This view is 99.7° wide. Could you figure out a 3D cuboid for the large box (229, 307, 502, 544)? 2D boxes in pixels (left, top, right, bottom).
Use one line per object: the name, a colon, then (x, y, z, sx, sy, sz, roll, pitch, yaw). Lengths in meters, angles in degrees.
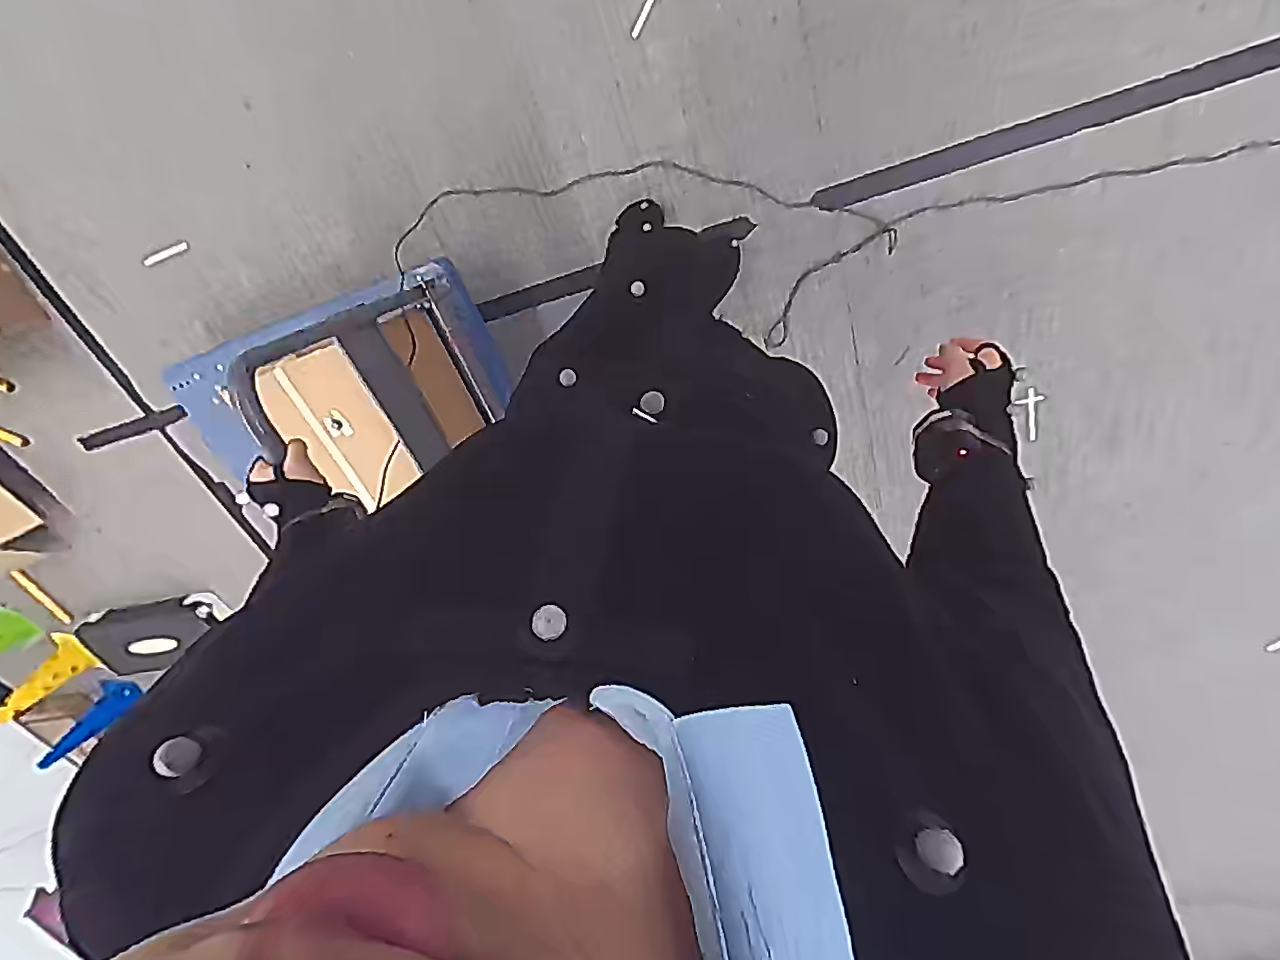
large box: (-0.581, -0.126, 1.233, 0.320, 0.320, 0.408, -16, 116, 14)
